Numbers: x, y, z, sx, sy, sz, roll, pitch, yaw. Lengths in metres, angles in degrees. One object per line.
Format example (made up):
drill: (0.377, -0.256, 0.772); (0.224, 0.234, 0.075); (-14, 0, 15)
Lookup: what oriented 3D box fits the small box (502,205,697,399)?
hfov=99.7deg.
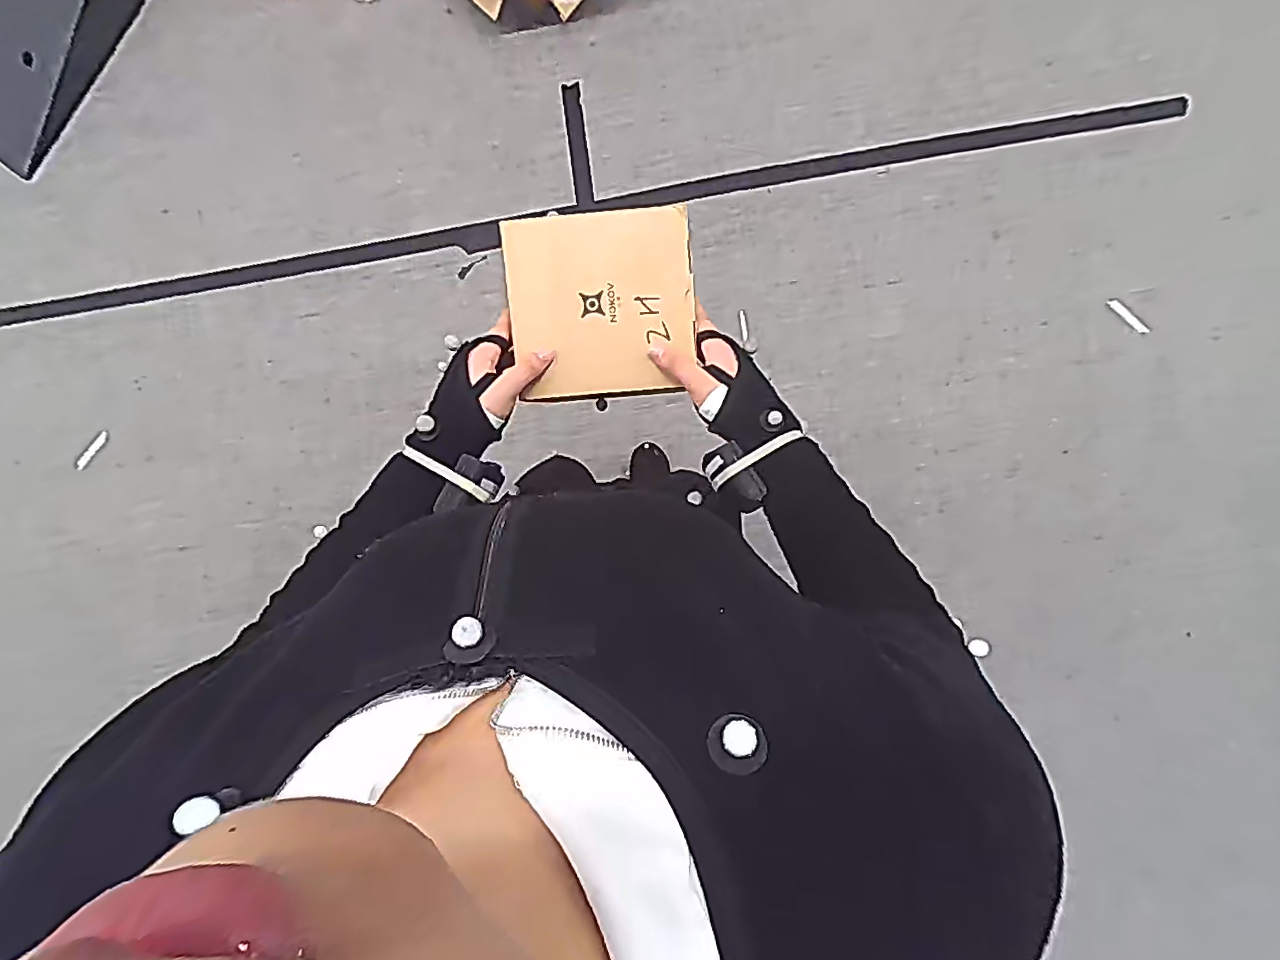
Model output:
small box: (-0.036, -0.178, 0.588); (0.179, 0.176, 0.168); (-5, 98, 0)
